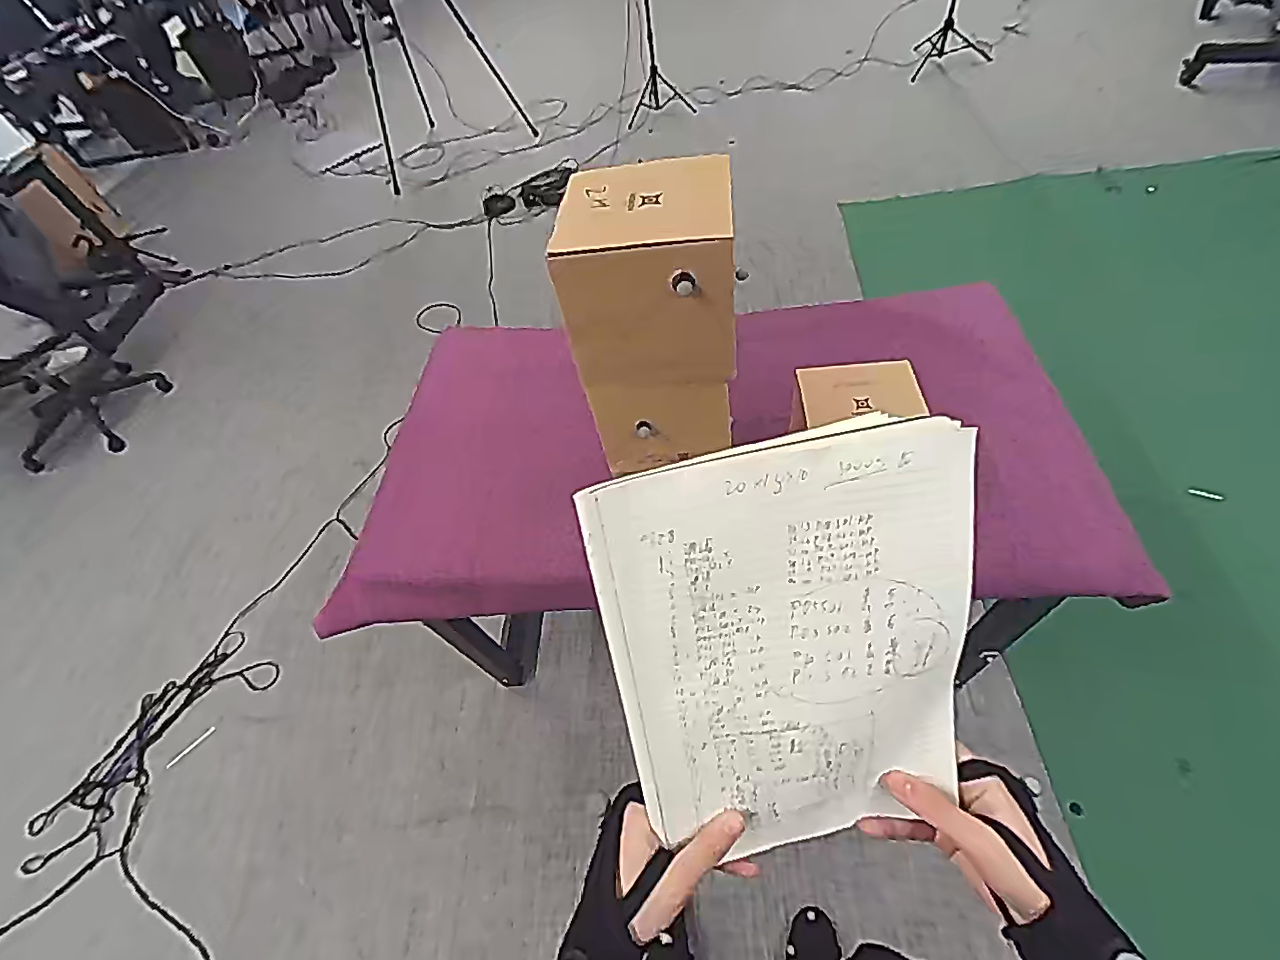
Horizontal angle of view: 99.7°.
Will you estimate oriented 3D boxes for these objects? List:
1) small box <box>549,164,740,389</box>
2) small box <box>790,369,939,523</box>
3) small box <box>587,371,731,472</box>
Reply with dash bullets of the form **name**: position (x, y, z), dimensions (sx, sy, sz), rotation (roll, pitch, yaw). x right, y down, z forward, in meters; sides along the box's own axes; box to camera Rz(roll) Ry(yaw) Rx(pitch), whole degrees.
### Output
- **small box**: position (0.019, -0.216, 0.597), dimensions (0.179, 0.176, 0.168), rotation (-1, 52, 10)
- **small box**: position (0.327, -0.044, 0.827), dimensions (0.168, 0.176, 0.179), rotation (-2, 52, 8)
- **small box**: position (0.035, -0.122, 0.732), dimensions (0.168, 0.176, 0.179), rotation (-3, 52, 9)
